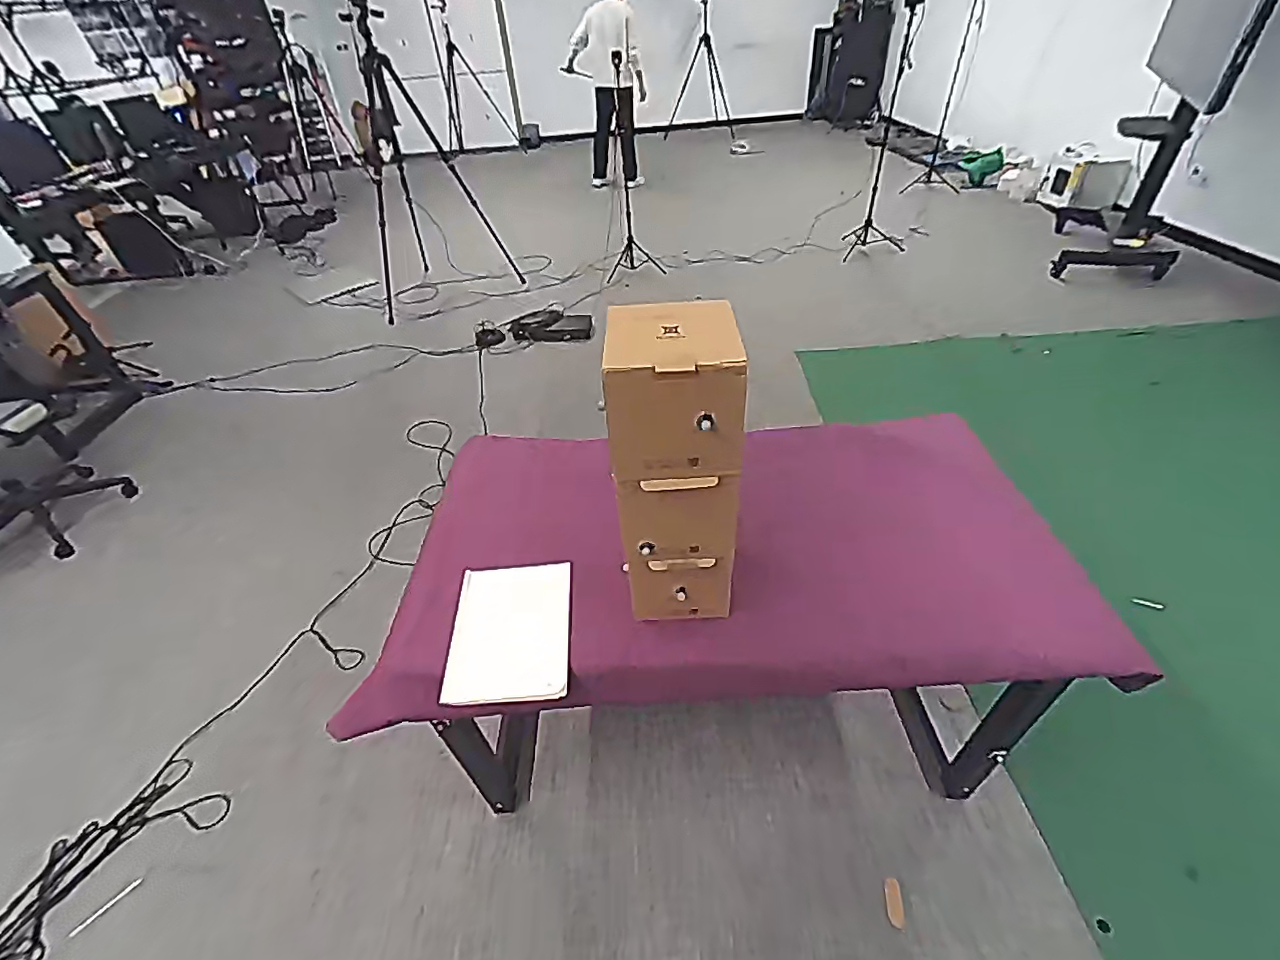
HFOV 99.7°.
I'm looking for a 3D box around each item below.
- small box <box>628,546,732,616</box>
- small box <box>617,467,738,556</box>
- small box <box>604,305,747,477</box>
[{"bbox_3d":[0.069,0.125,0.945,0.168,0.176,0.179,-3,41,2],"label":"small box"},{"bbox_3d":[0.058,0.005,0.832,0.168,0.176,0.179,-3,40,3],"label":"small box"},{"bbox_3d":[0.048,-0.116,0.723,0.168,0.176,0.179,-2,40,3],"label":"small box"}]
